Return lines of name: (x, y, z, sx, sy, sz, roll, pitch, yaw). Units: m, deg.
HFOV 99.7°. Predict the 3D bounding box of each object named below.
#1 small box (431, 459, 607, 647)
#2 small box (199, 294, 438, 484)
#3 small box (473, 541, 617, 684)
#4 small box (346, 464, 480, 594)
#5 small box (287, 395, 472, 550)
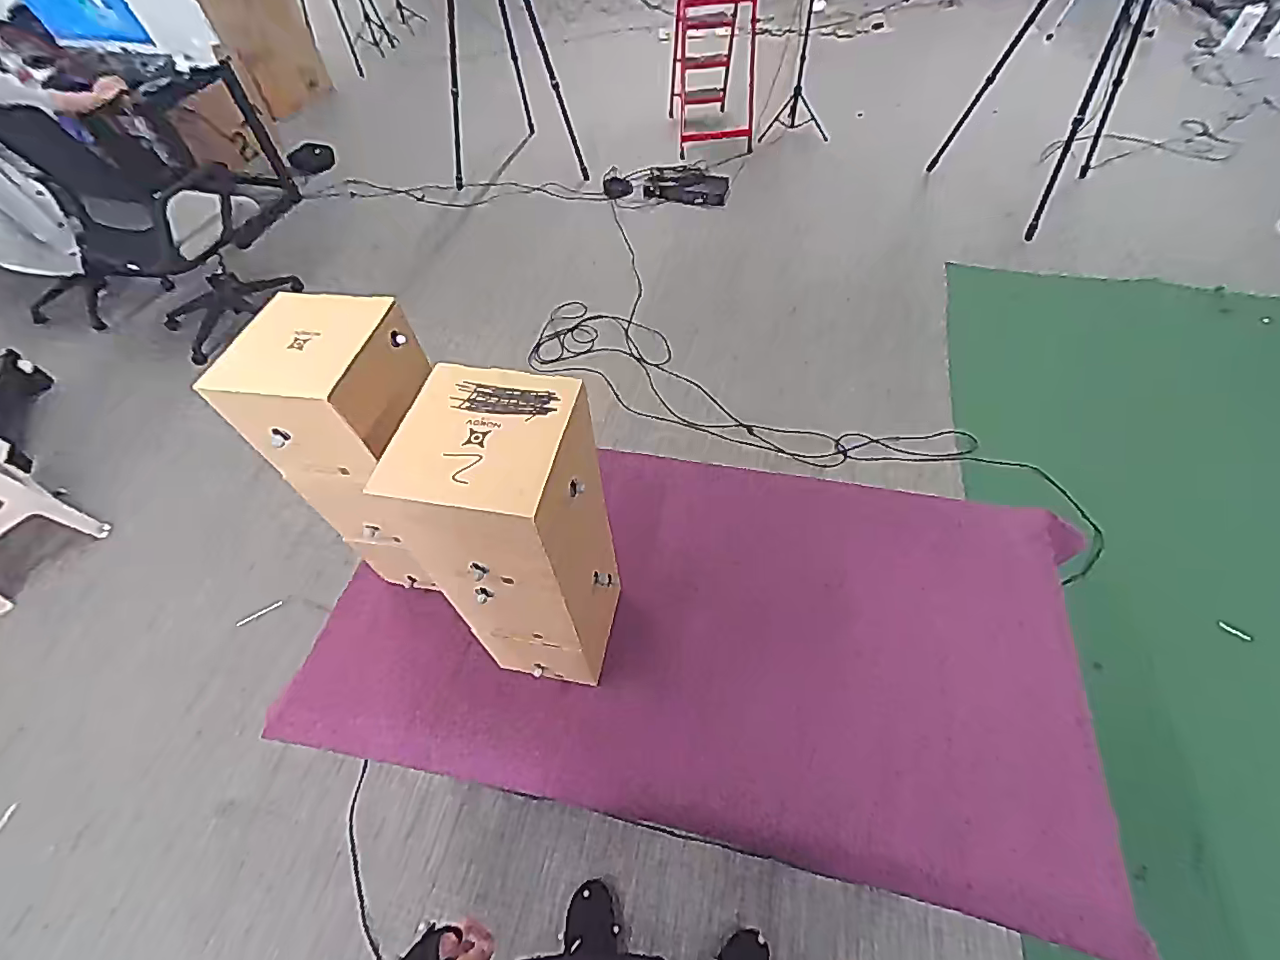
small box: (-0.143, 0.099, 0.722, 0.168, 0.176, 0.179, 7, 54, 9)
small box: (-0.386, -0.112, 0.692, 0.168, 0.176, 0.179, 6, 54, 9)
small box: (-0.136, 0.198, 0.853, 0.168, 0.176, 0.179, 8, 55, 10)
small box: (-0.369, 0.080, 0.955, 0.168, 0.176, 0.179, 7, 55, 9)
small box: (-0.376, -0.017, 0.823, 0.168, 0.176, 0.179, 6, 55, 9)
